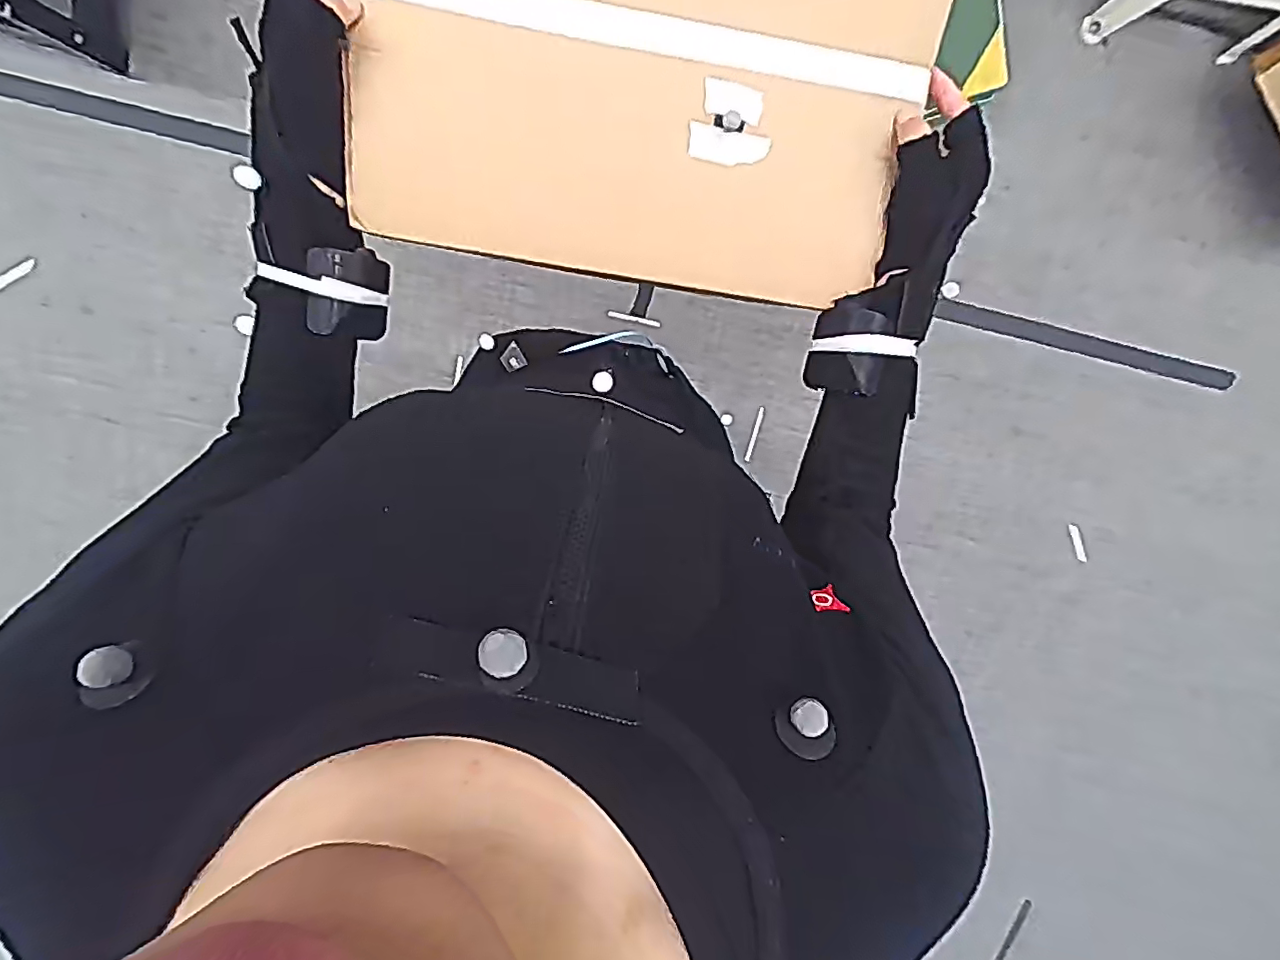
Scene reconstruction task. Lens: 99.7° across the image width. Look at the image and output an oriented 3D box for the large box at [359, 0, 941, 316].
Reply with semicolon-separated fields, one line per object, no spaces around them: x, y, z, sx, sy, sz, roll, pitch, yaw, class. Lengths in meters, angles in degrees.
-0.003;-0.352;0.522;0.408;0.320;0.320;8;111;-6;large box
